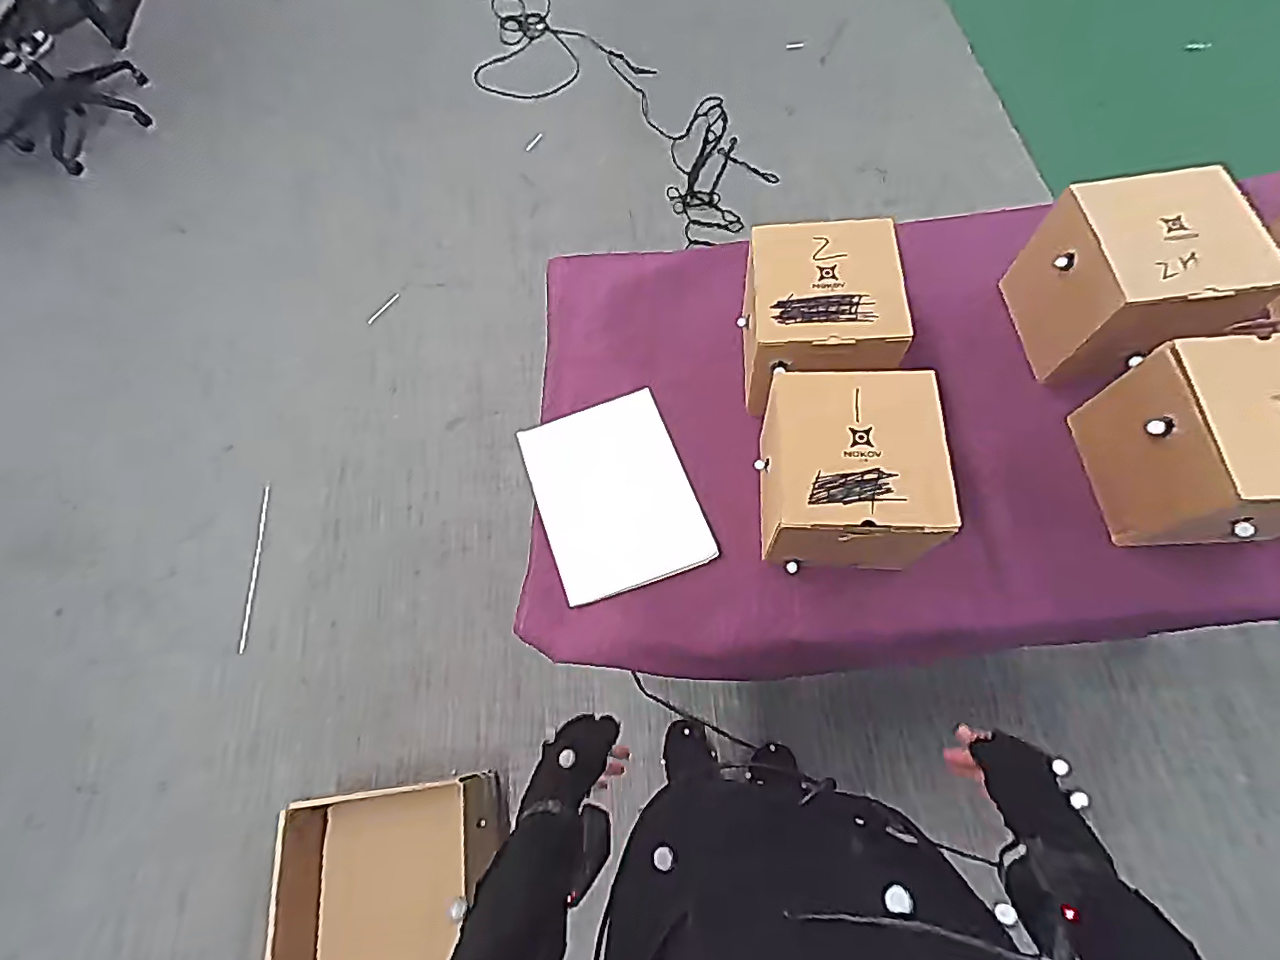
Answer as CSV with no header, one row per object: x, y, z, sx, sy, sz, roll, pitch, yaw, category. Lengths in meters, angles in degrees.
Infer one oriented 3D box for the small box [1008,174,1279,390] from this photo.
0.594,-0.233,0.662,0.168,0.176,0.179,-5,69,5,small box

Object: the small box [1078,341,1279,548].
0.624,-0.027,0.577,0.168,0.176,0.179,-3,69,6,small box
